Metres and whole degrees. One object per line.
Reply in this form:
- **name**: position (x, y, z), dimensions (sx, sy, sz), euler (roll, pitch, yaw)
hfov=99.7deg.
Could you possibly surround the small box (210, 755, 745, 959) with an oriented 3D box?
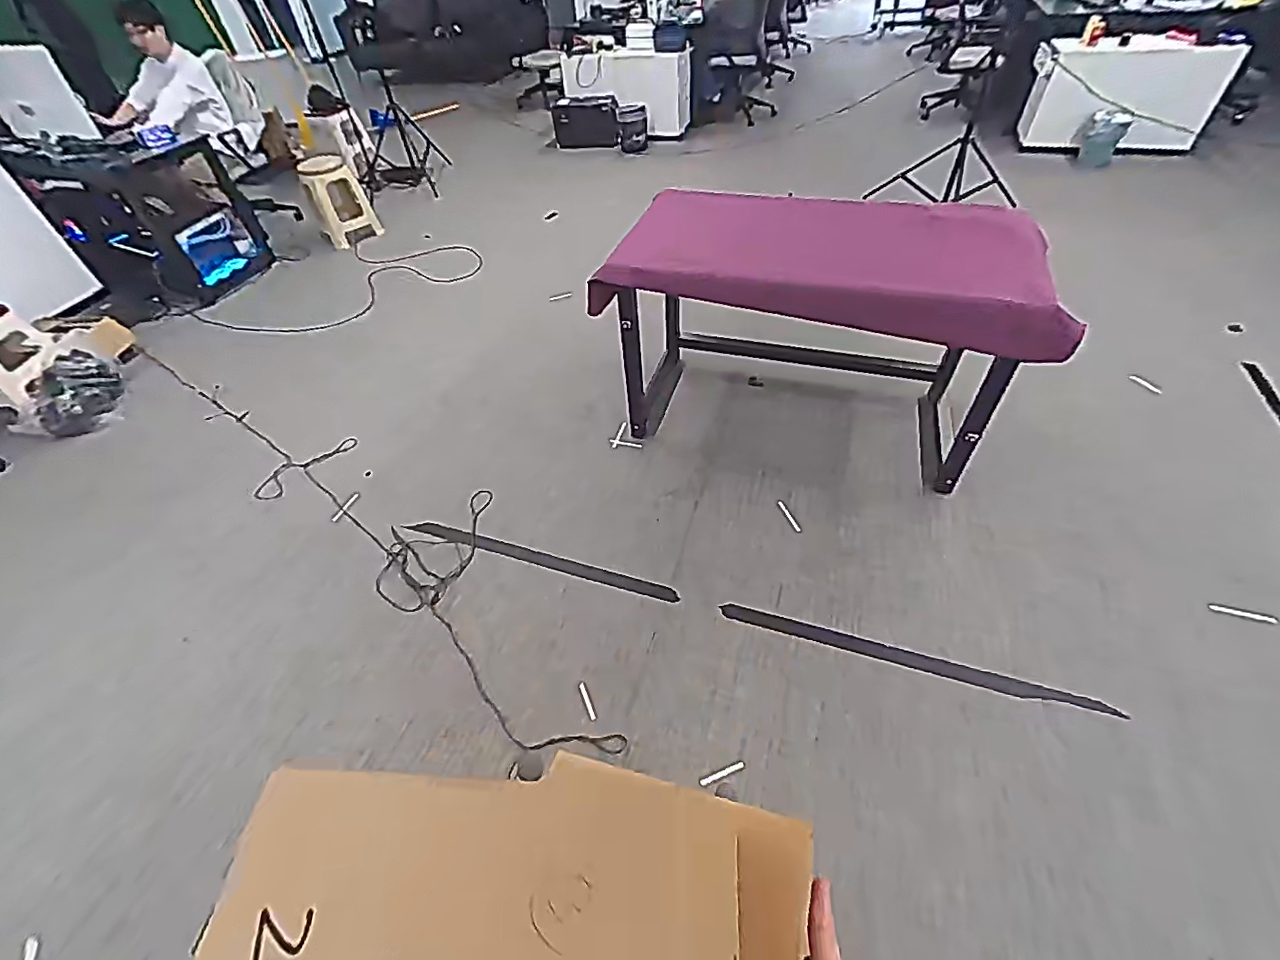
- **small box**: position (-0.049, 0.224, 0.219), dimensions (0.179, 0.176, 0.168), euler (-6, 48, 14)

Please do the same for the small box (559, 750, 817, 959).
- **small box**: position (0.019, 0.305, 0.354), dimensions (0.168, 0.176, 0.179), euler (5, 56, 20)
